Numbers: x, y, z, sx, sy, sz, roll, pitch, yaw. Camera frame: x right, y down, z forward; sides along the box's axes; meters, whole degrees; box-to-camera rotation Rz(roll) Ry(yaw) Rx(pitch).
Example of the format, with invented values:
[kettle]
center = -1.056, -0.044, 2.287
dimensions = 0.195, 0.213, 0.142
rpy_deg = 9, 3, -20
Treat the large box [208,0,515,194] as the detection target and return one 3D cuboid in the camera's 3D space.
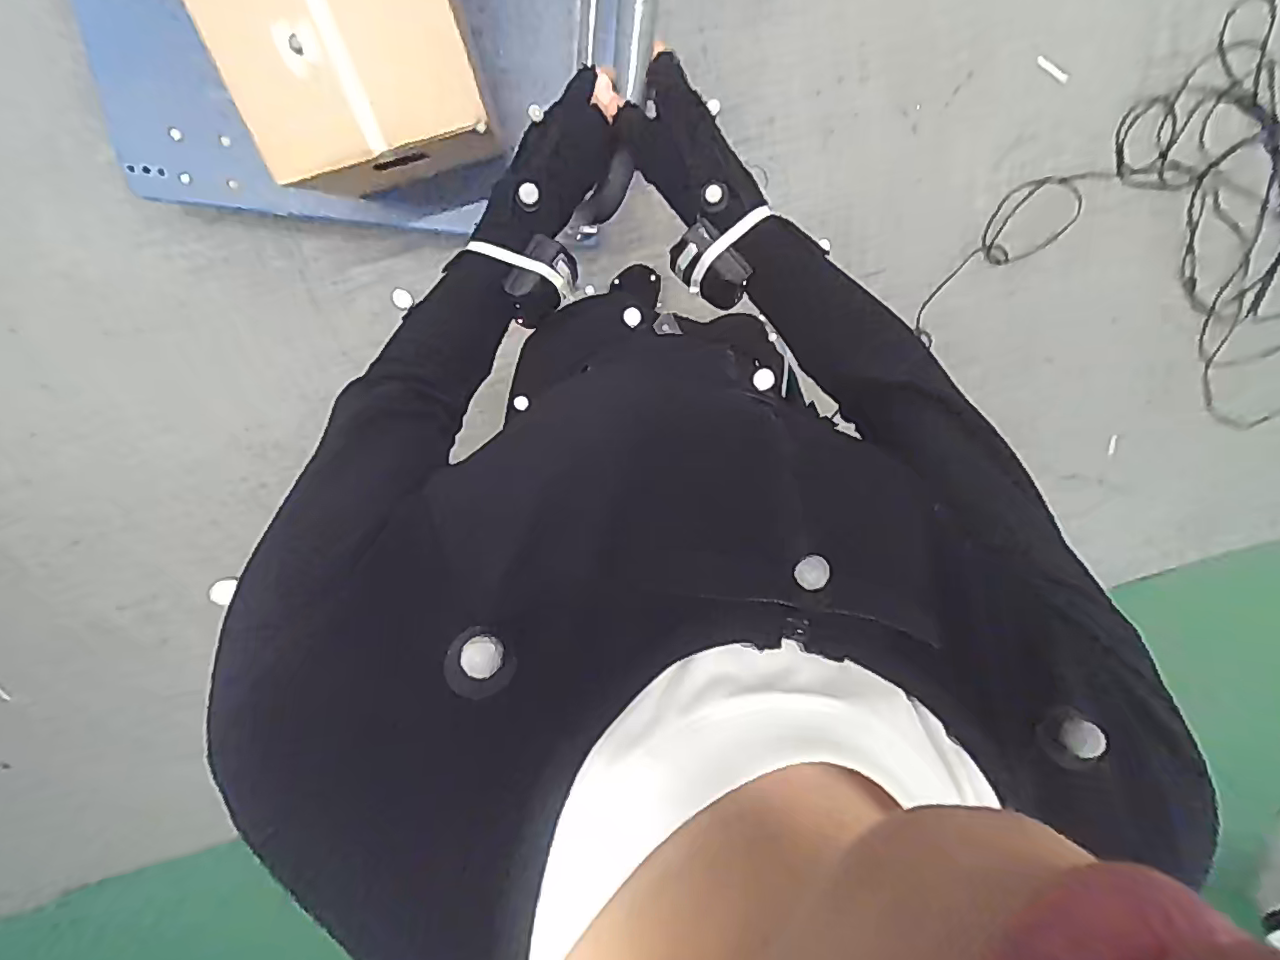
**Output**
[large box]
center = -0.416, -0.701, 0.821
dimensions = 0.320, 0.320, 0.408
rpy_deg = -17, 116, 1
